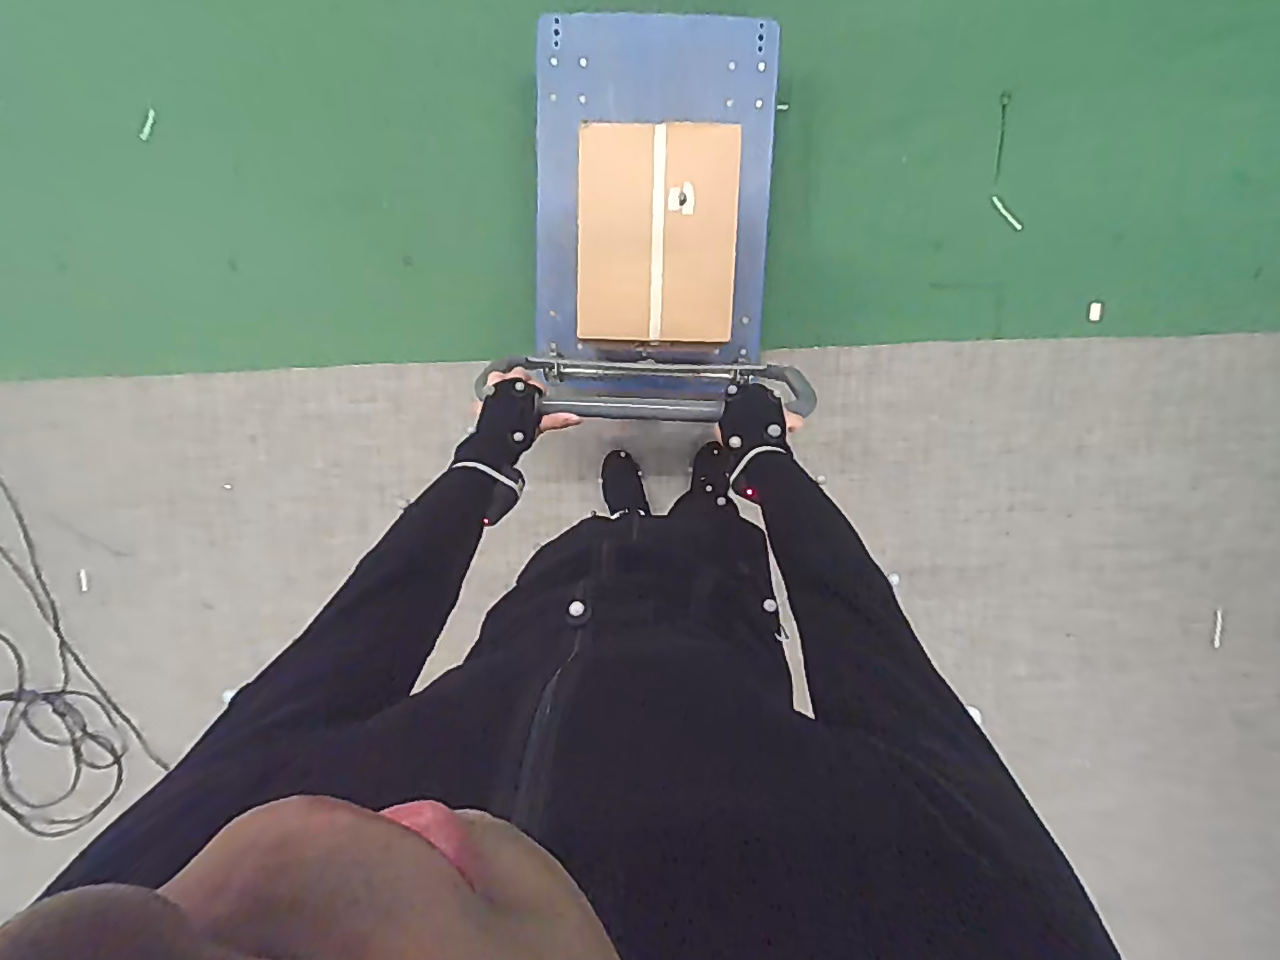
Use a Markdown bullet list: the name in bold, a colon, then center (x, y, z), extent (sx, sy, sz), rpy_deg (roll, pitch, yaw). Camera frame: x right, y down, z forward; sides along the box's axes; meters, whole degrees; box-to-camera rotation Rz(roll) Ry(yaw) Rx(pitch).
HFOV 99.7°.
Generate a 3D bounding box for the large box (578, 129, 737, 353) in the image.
- **large box**: center (0.037, -0.502, 1.222), extent (0.320, 0.320, 0.408), rpy_deg (2, 99, 1)
